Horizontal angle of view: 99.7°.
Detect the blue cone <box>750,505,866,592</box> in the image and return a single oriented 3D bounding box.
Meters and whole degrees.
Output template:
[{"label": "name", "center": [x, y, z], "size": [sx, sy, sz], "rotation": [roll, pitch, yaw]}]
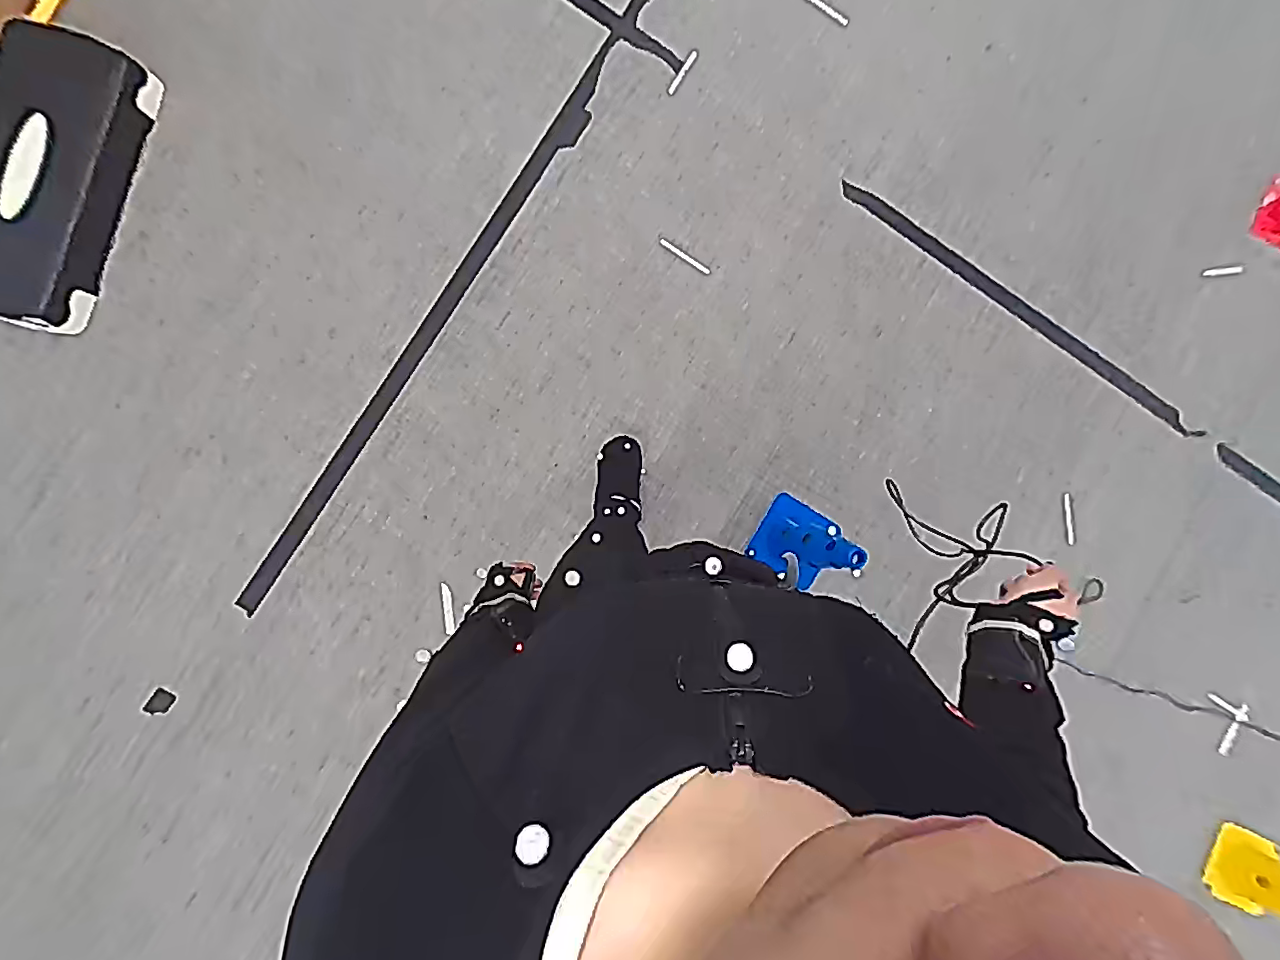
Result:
[{"label": "blue cone", "center": [0.411, 0.173, 1.229], "size": [0.193, 0.380, 0.192], "rotation": [33, 87, -3]}]
